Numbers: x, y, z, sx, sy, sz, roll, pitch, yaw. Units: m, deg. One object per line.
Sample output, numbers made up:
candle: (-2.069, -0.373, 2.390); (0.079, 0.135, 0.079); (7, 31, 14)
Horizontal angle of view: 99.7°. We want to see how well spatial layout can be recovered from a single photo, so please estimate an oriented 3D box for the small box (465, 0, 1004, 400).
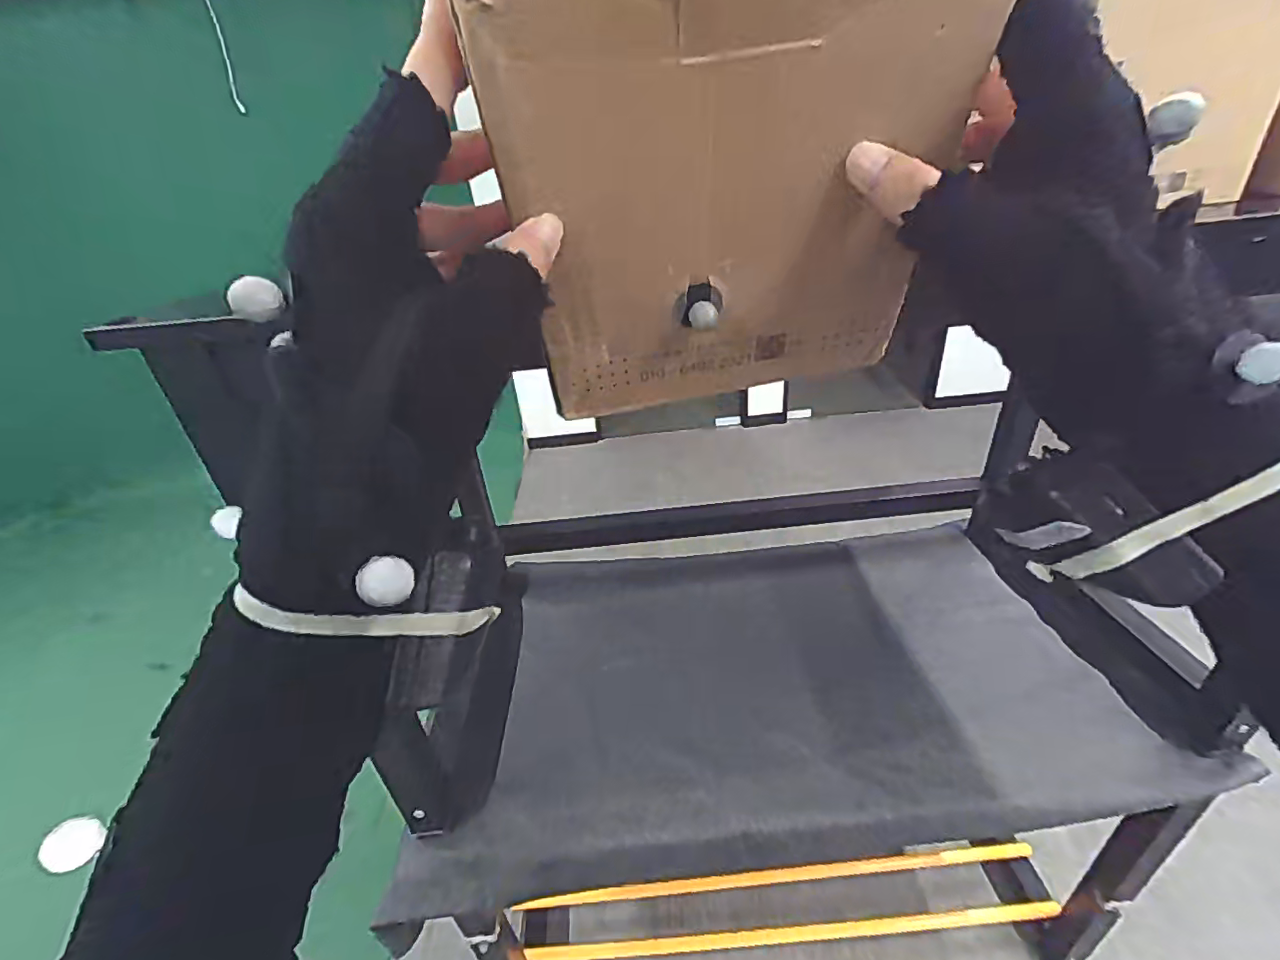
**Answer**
small box: (0.020, -0.165, 0.256); (0.168, 0.176, 0.179); (-11, 53, -3)
